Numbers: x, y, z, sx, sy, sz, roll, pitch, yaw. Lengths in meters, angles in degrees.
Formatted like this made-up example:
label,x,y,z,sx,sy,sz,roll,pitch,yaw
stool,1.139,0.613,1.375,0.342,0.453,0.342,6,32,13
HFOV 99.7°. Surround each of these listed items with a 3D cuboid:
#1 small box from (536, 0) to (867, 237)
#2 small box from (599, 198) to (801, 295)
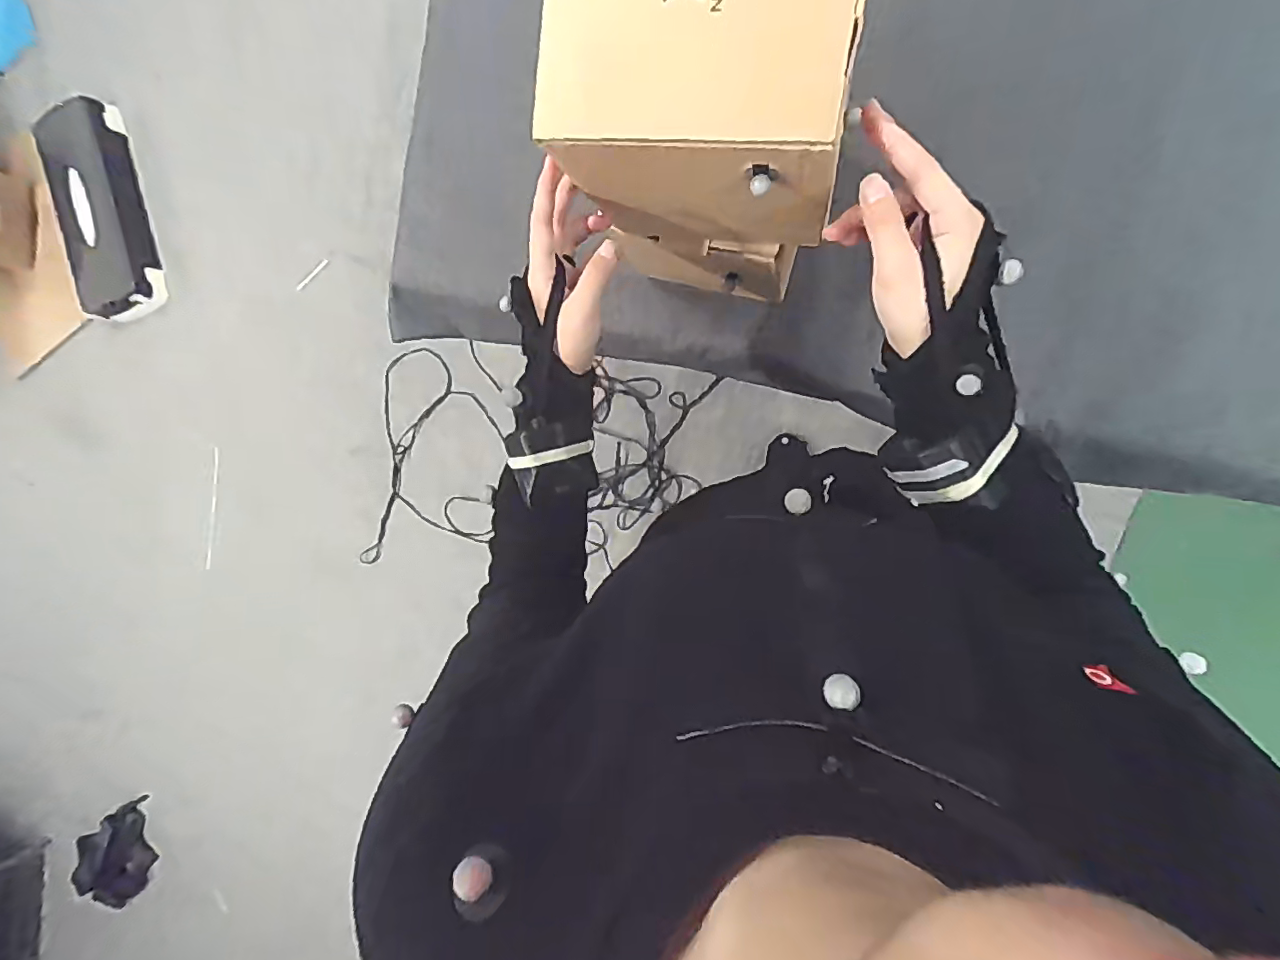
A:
label,x,y,z,sx,sy,sz,roll,pitch,yaw
small box,0.052,-0.276,0.363,0.179,0.176,0.168,9,98,14
small box,0.081,-0.294,0.523,0.168,0.176,0.179,17,99,13
